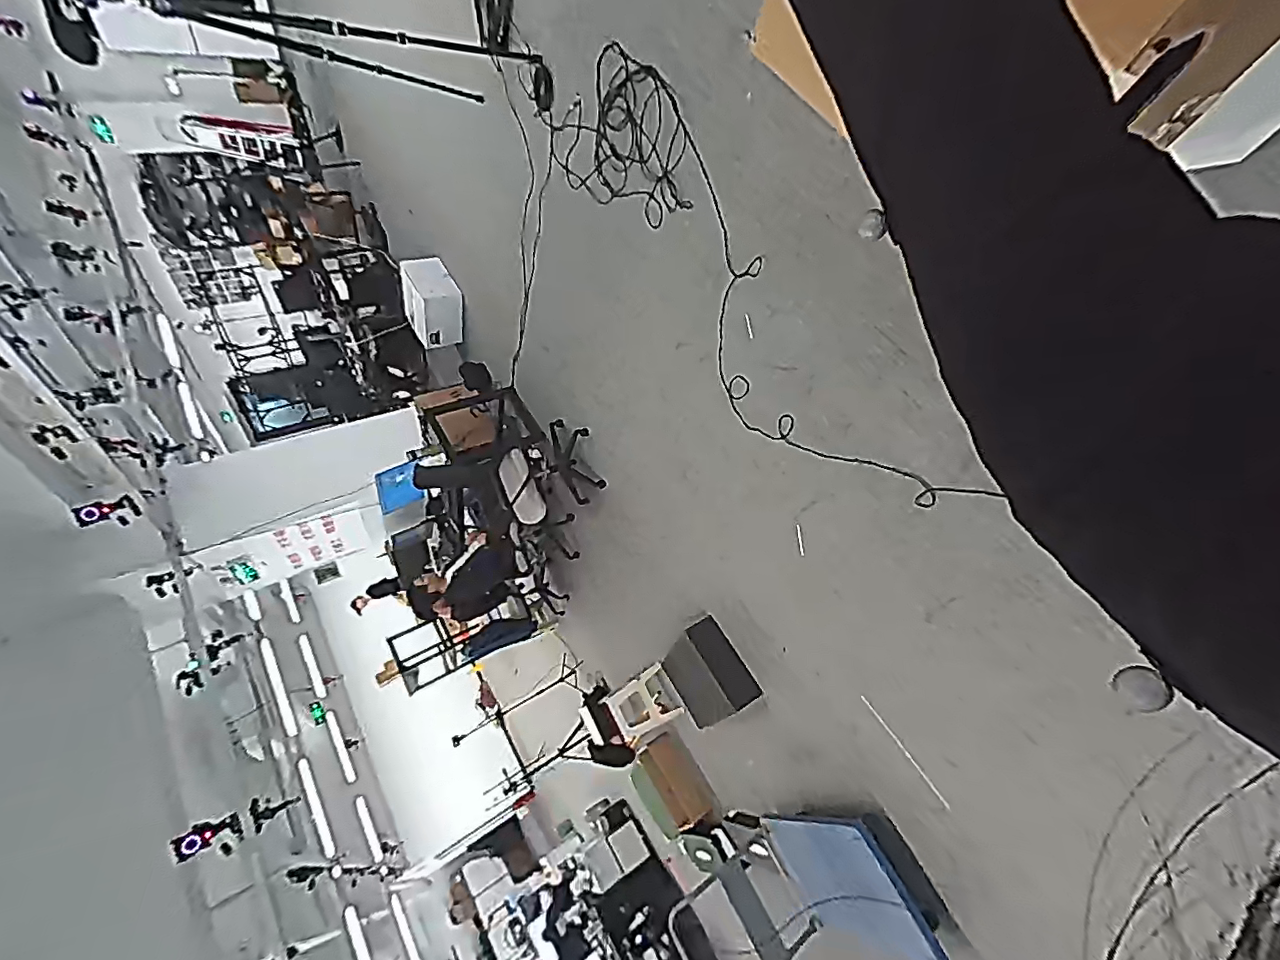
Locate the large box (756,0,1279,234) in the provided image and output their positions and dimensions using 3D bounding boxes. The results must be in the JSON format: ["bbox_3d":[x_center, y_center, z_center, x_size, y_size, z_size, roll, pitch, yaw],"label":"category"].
[{"bbox_3d":[0.413,-0.536,0.586,0.408,0.320,0.320,58,149,20],"label":"large box"}]
